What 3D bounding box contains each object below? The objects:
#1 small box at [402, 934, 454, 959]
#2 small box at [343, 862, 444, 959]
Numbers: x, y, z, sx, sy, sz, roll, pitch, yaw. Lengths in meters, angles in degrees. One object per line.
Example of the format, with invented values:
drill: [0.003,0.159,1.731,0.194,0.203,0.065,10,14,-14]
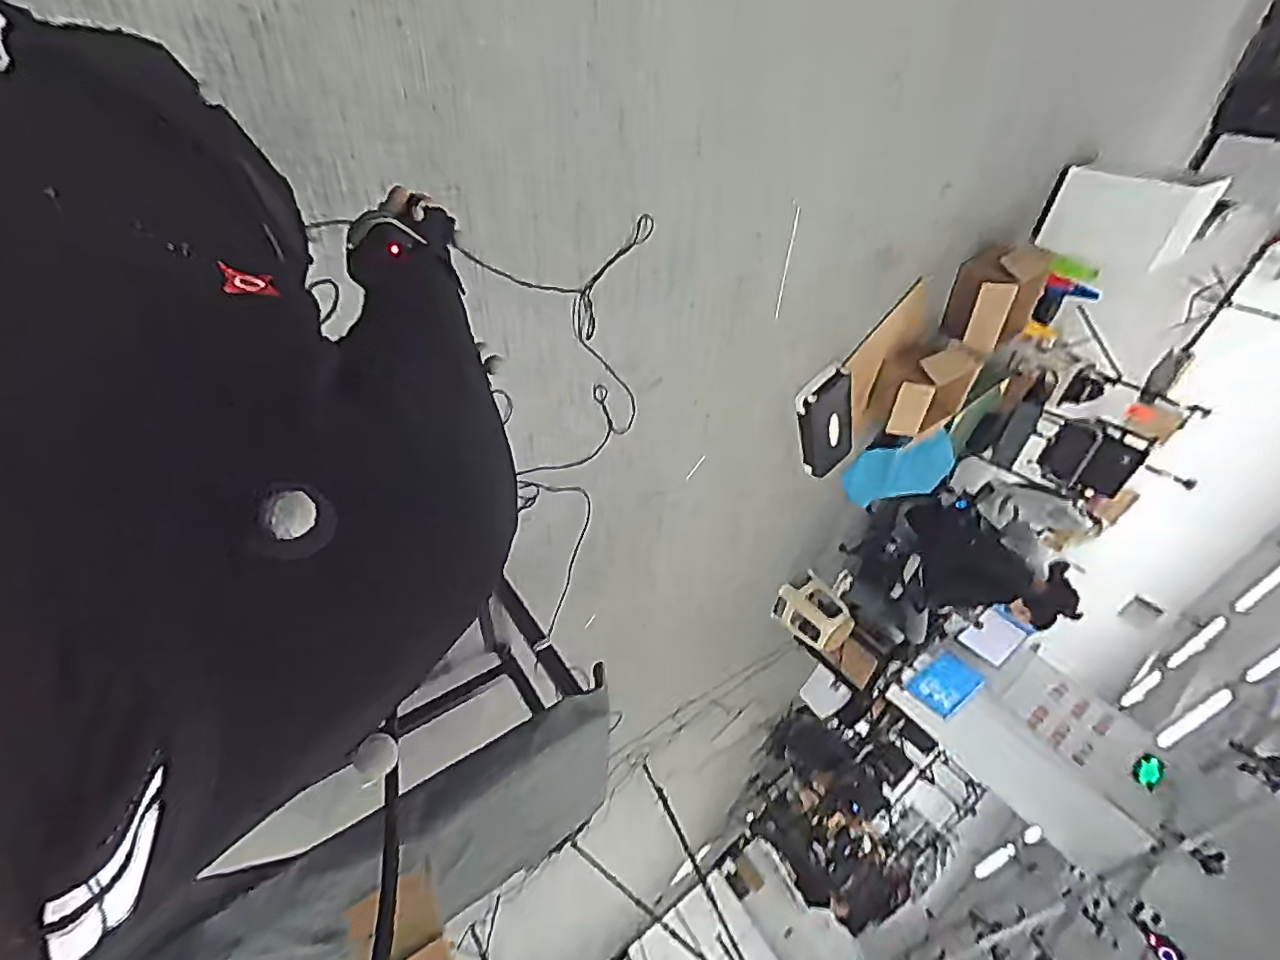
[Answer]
small box: [-0.465,1.105,1.123,0.179,0.176,0.168,-14,133,-36]
small box: [-0.562,1.032,1.234,0.179,0.176,0.168,-17,135,-35]
